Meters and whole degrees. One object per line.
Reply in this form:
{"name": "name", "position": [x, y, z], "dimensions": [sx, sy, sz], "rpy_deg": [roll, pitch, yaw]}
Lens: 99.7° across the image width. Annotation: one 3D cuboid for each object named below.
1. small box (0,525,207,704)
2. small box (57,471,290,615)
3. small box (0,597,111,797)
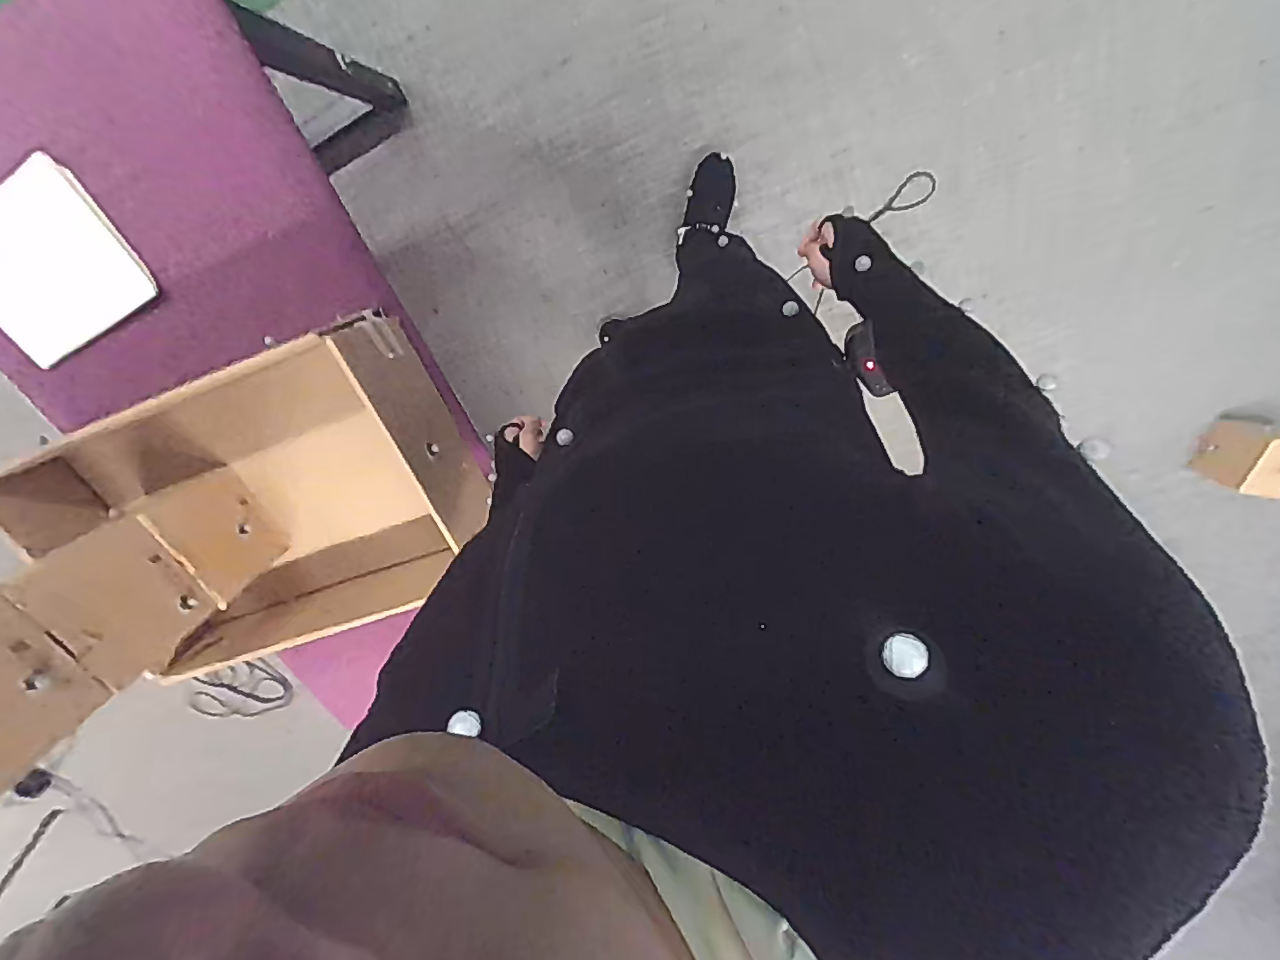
{"name": "small box", "position": [-0.713, 0.183, 0.693], "dimensions": [0.179, 0.176, 0.168], "rpy_deg": [-22, 112, 12]}
{"name": "small box", "position": [-0.703, 0.111, 0.840], "dimensions": [0.179, 0.176, 0.168], "rpy_deg": [-22, 112, 10]}
{"name": "small box", "position": [-0.716, 0.249, 0.544], "dimensions": [0.179, 0.176, 0.168], "rpy_deg": [-22, 113, 10]}
